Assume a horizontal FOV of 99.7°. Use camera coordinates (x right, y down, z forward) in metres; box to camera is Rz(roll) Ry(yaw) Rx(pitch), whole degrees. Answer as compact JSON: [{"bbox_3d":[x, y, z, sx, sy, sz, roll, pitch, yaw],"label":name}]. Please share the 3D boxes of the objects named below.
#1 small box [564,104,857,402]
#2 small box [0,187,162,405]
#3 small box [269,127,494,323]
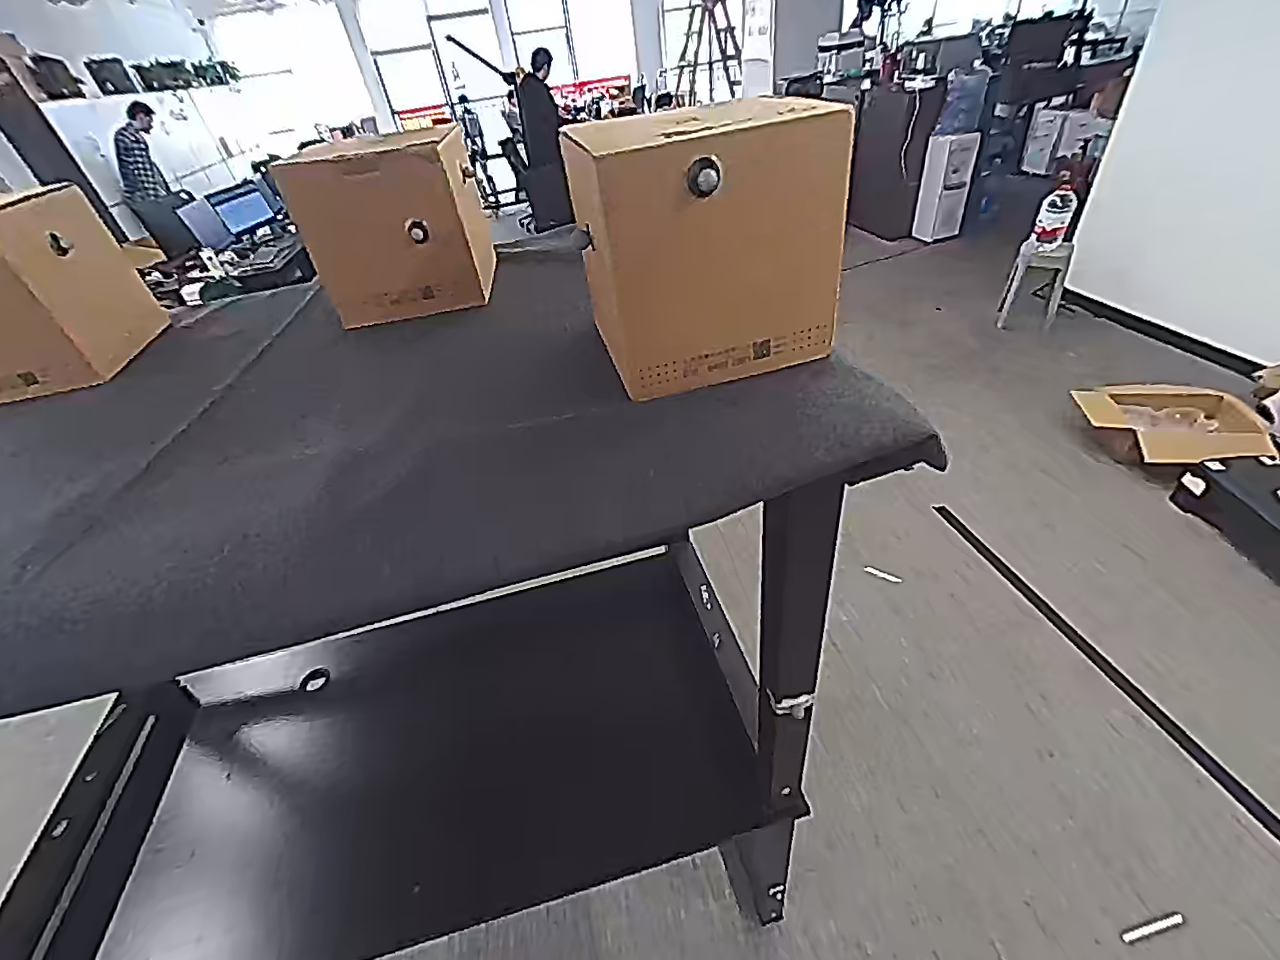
[{"bbox_3d":[0.044,-0.184,0.430,0.168,0.176,0.179,-15,38,-6],"label":"small box"},{"bbox_3d":[-0.672,-0.189,0.575,0.168,0.176,0.179,-14,40,-7],"label":"small box"},{"bbox_3d":[-0.277,-0.293,0.631,0.168,0.176,0.179,-10,38,-3],"label":"small box"}]
